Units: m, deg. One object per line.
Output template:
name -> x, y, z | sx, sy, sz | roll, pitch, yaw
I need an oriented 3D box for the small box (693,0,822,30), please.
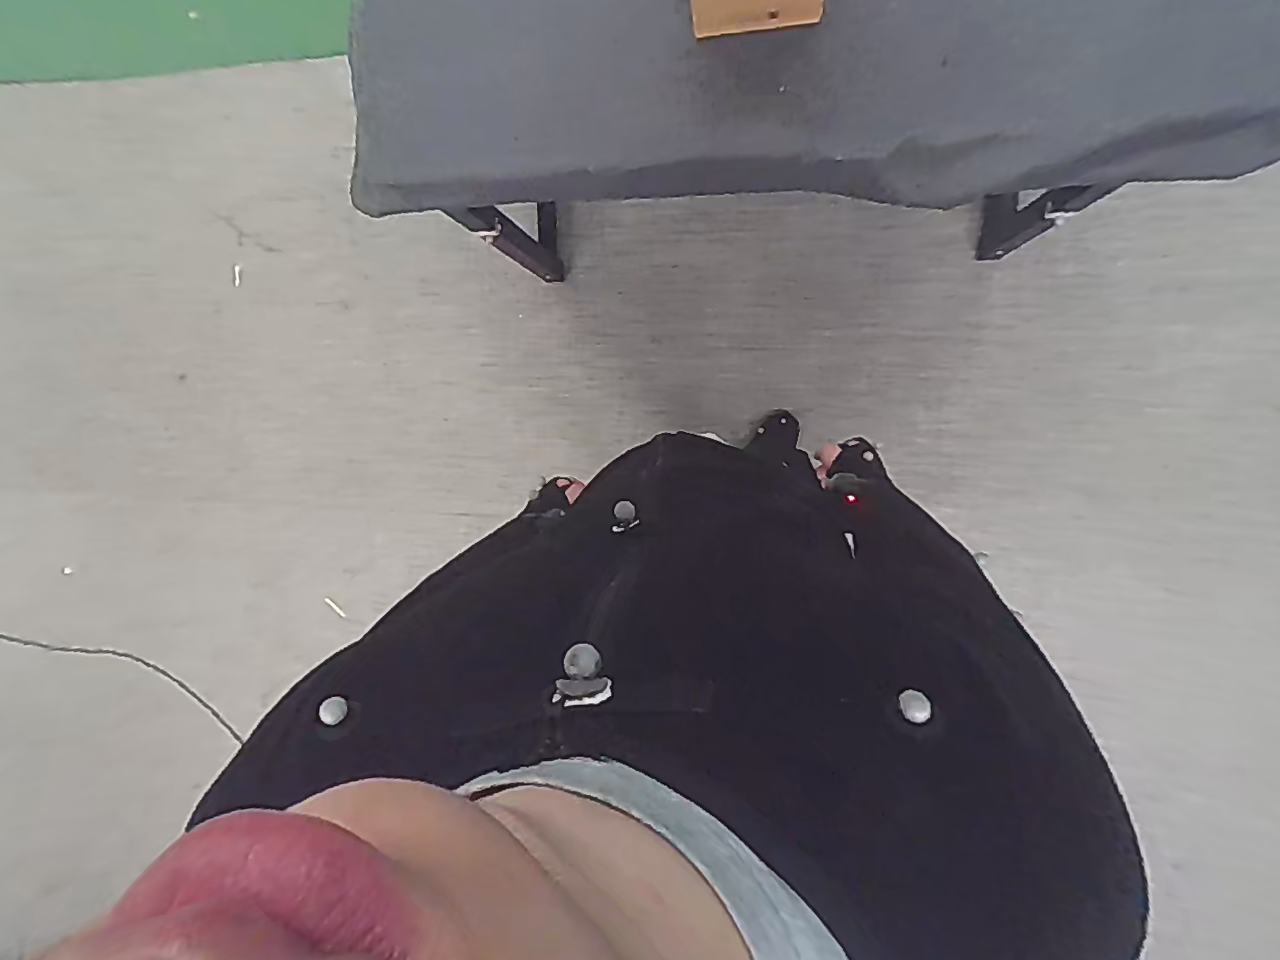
small box -> 0.143, -0.675, 0.637 | 0.168, 0.176, 0.179 | 0, 96, 9
